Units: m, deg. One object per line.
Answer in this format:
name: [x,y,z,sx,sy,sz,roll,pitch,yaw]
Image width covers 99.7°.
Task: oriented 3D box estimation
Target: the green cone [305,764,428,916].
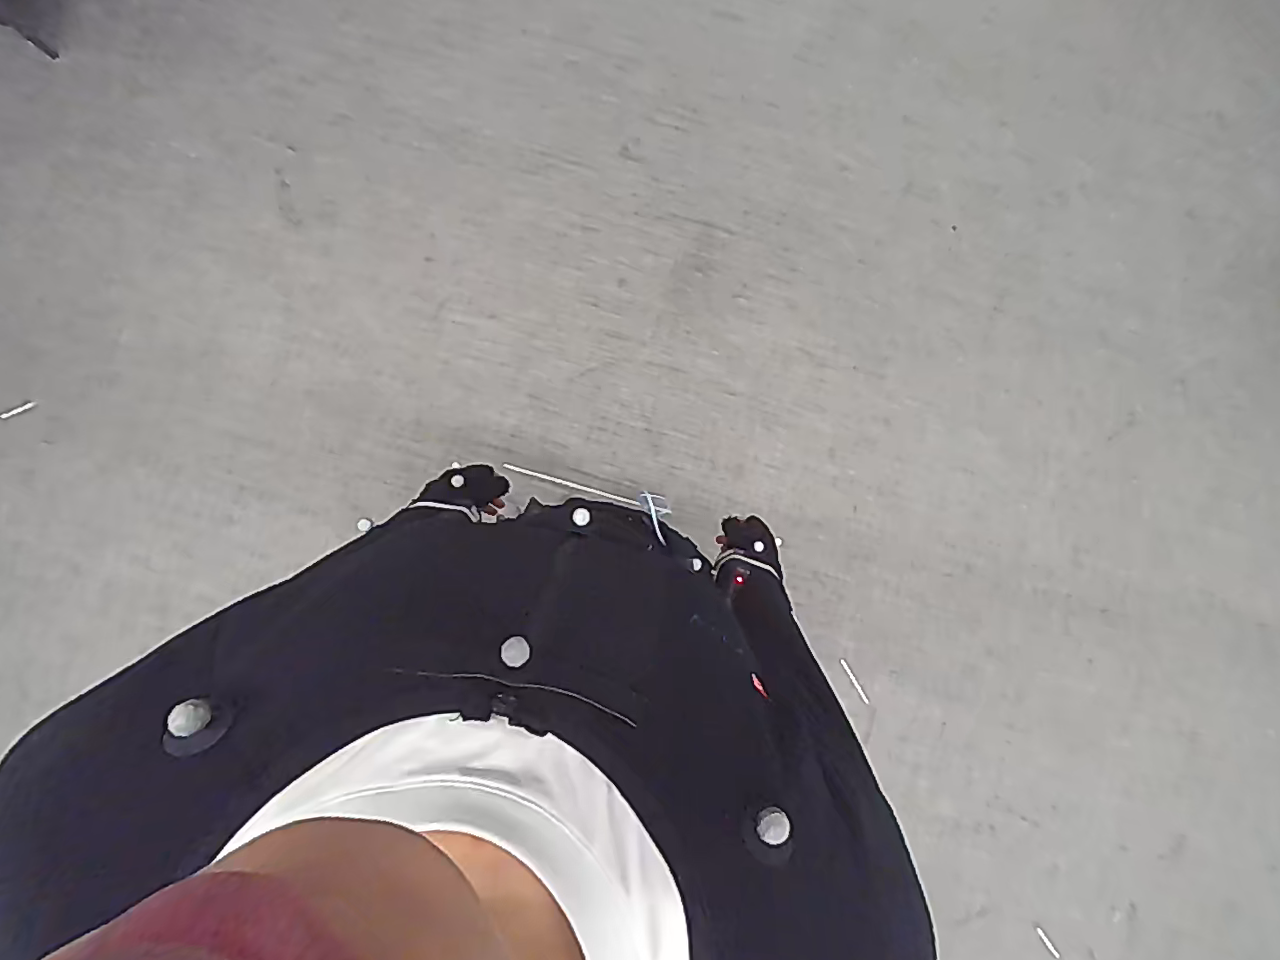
green cone: [-0.680,0.879,1.285,0.202,0.368,0.200,15,89,-2]
